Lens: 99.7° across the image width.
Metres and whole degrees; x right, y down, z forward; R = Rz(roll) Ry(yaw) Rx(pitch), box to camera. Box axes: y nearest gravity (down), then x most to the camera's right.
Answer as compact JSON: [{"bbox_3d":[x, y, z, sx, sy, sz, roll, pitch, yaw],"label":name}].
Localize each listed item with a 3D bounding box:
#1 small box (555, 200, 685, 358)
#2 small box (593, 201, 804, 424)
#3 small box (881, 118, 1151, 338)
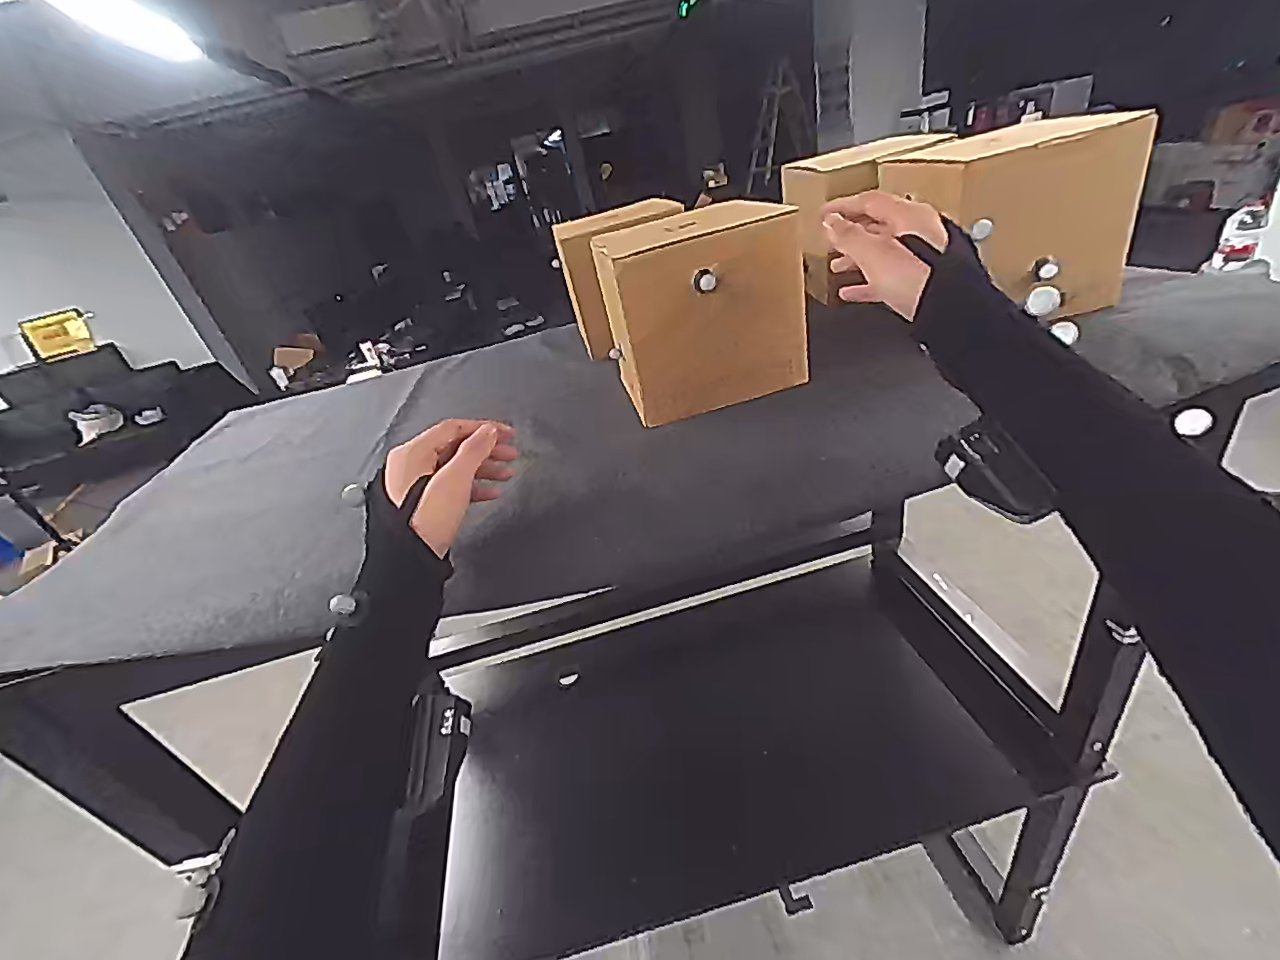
[{"bbox_3d":[-0.020,-0.294,0.788,0.168,0.176,0.179,-17,32,-3],"label":"small box"},{"bbox_3d":[0.061,-0.182,0.577,0.179,0.176,0.168,-17,31,-3],"label":"small box"},{"bbox_3d":[0.375,-0.268,0.583,0.168,0.176,0.179,-13,31,4],"label":"small box"}]
